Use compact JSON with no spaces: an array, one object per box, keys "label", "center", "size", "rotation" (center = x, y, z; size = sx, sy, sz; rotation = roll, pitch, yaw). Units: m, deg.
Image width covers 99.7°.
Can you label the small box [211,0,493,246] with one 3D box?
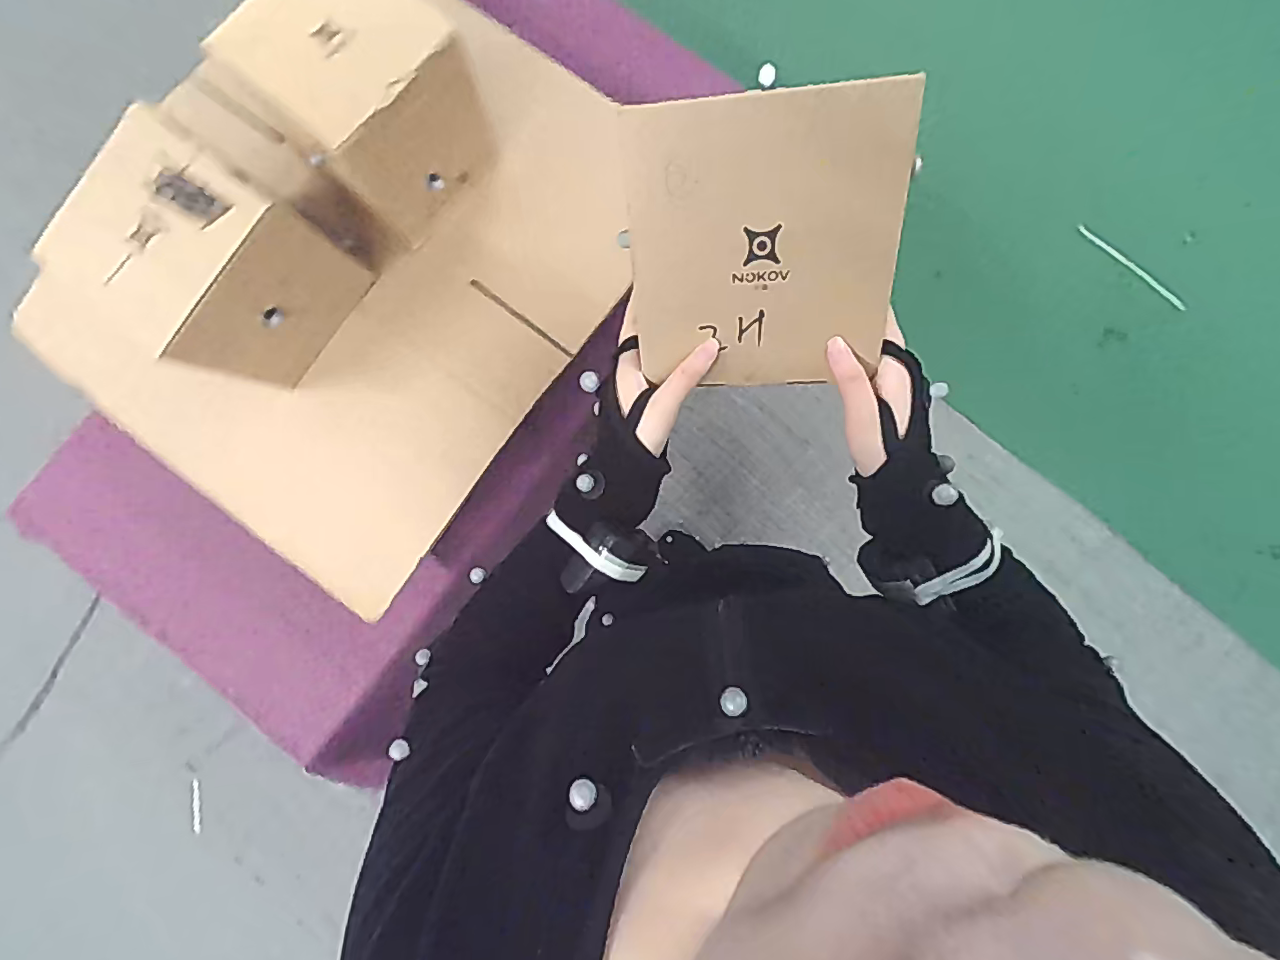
[{"label":"small box","center":[-0.294,-0.399,0.595],"size":[0.179,0.176,0.168],"rotation":[38,84,4]}]

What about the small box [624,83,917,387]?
[{"label":"small box","center":[0.087,-0.184,0.413],"size":[0.168,0.176,0.179],"rotation":[2,124,10]}]
